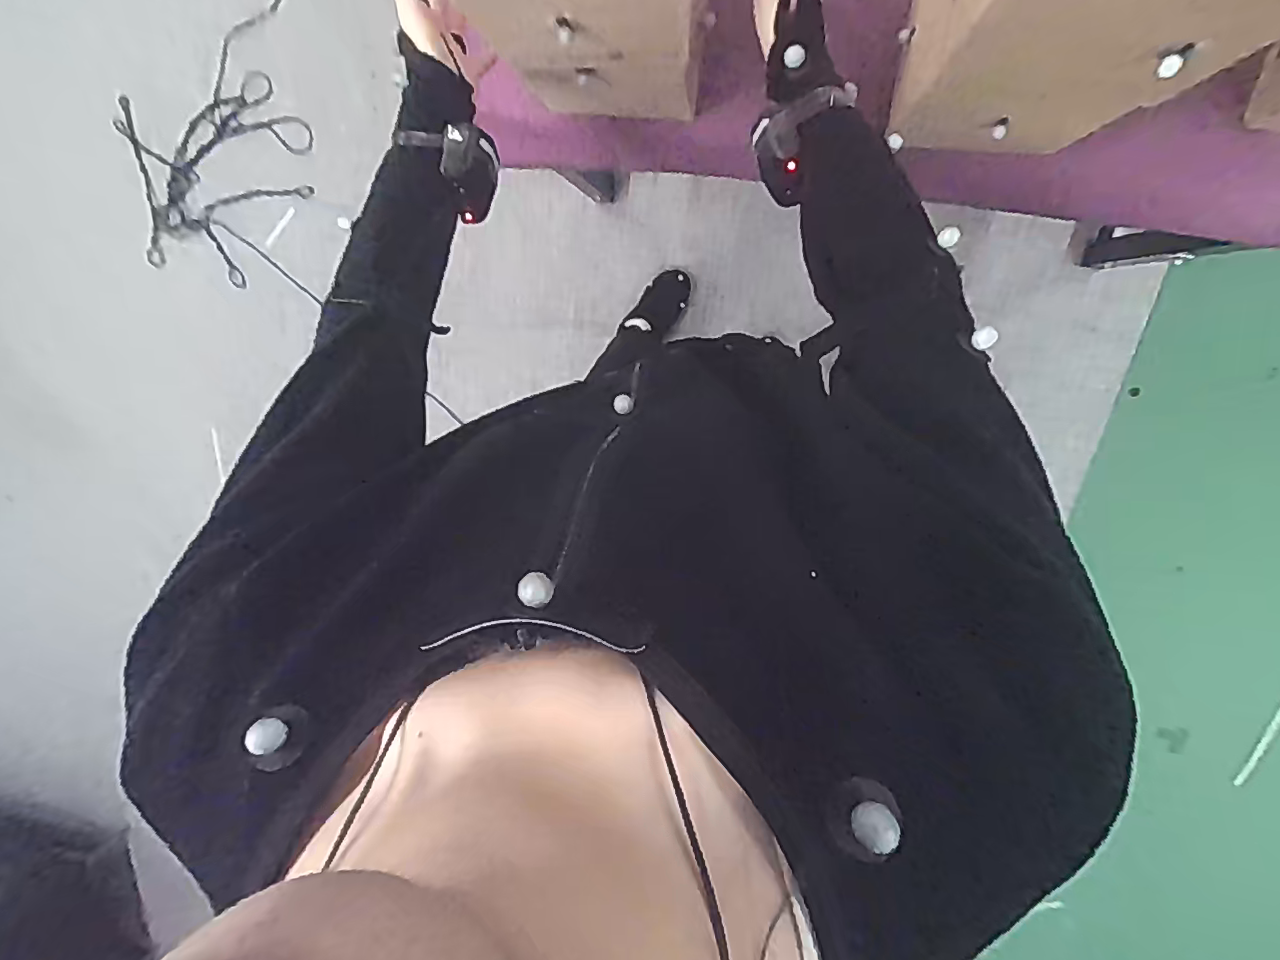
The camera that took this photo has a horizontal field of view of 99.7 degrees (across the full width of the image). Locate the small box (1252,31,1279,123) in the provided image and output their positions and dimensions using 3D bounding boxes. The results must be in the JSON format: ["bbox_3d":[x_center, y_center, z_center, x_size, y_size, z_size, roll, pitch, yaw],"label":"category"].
[{"bbox_3d":[0.682,-0.399,0.426,0.179,0.176,0.168,9,106,8],"label":"small box"}]

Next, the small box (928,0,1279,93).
[{"bbox_3d":[0.313,-0.369,0.334,0.179,0.176,0.168,10,106,9],"label":"small box"}]

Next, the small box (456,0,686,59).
[{"bbox_3d":[-0.052,-0.434,0.386,0.168,0.176,0.179,5,106,9],"label":"small box"}]
